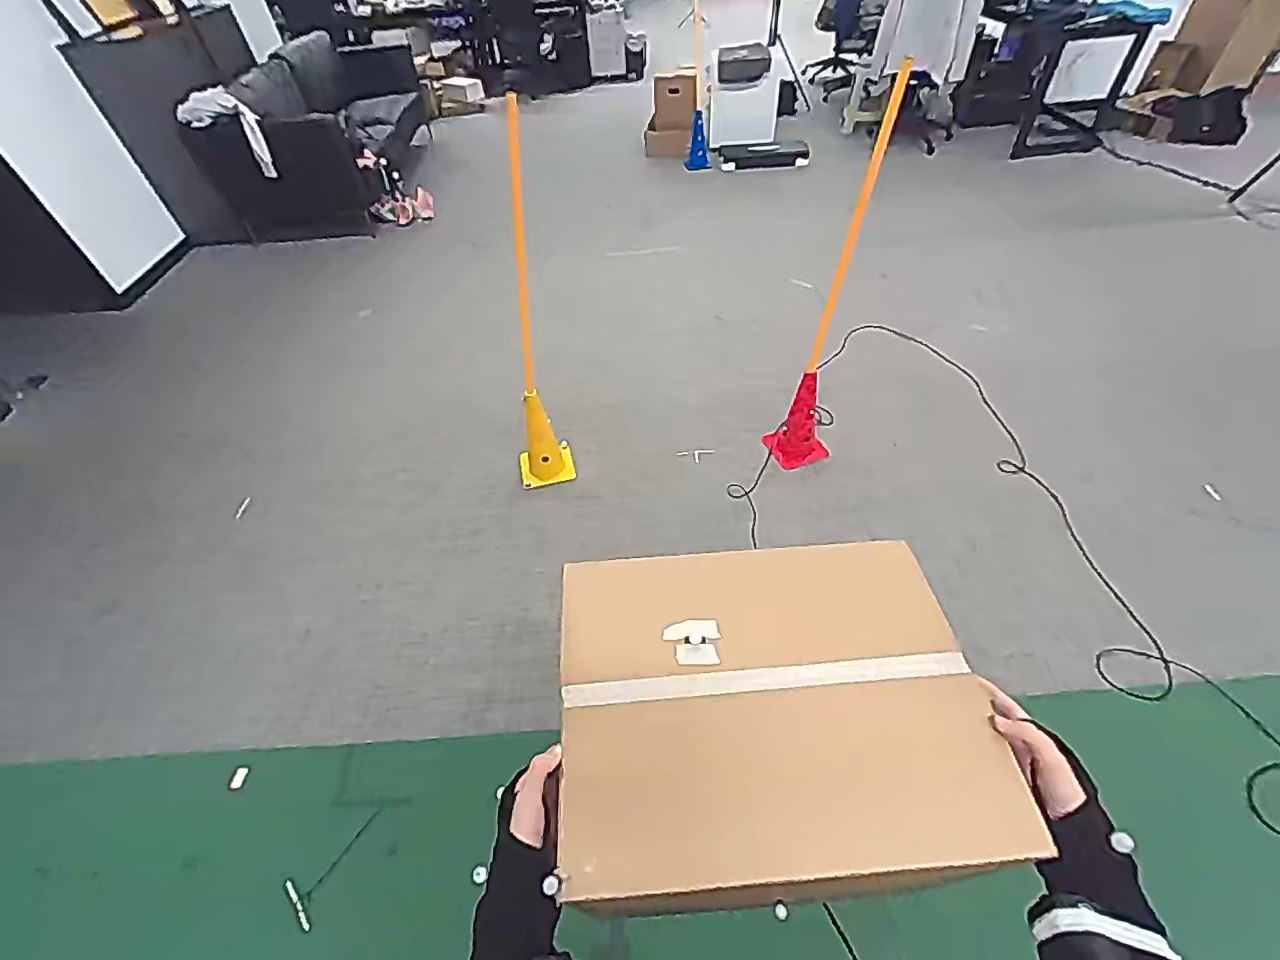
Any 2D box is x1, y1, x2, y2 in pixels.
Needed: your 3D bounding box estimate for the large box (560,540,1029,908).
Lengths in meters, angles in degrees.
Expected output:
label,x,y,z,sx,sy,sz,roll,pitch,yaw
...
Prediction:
label,x,y,z,sx,sy,sz,roll,pitch,yaw
large box,0.126,0.301,0.655,0.408,0.320,0.320,-5,49,-1
